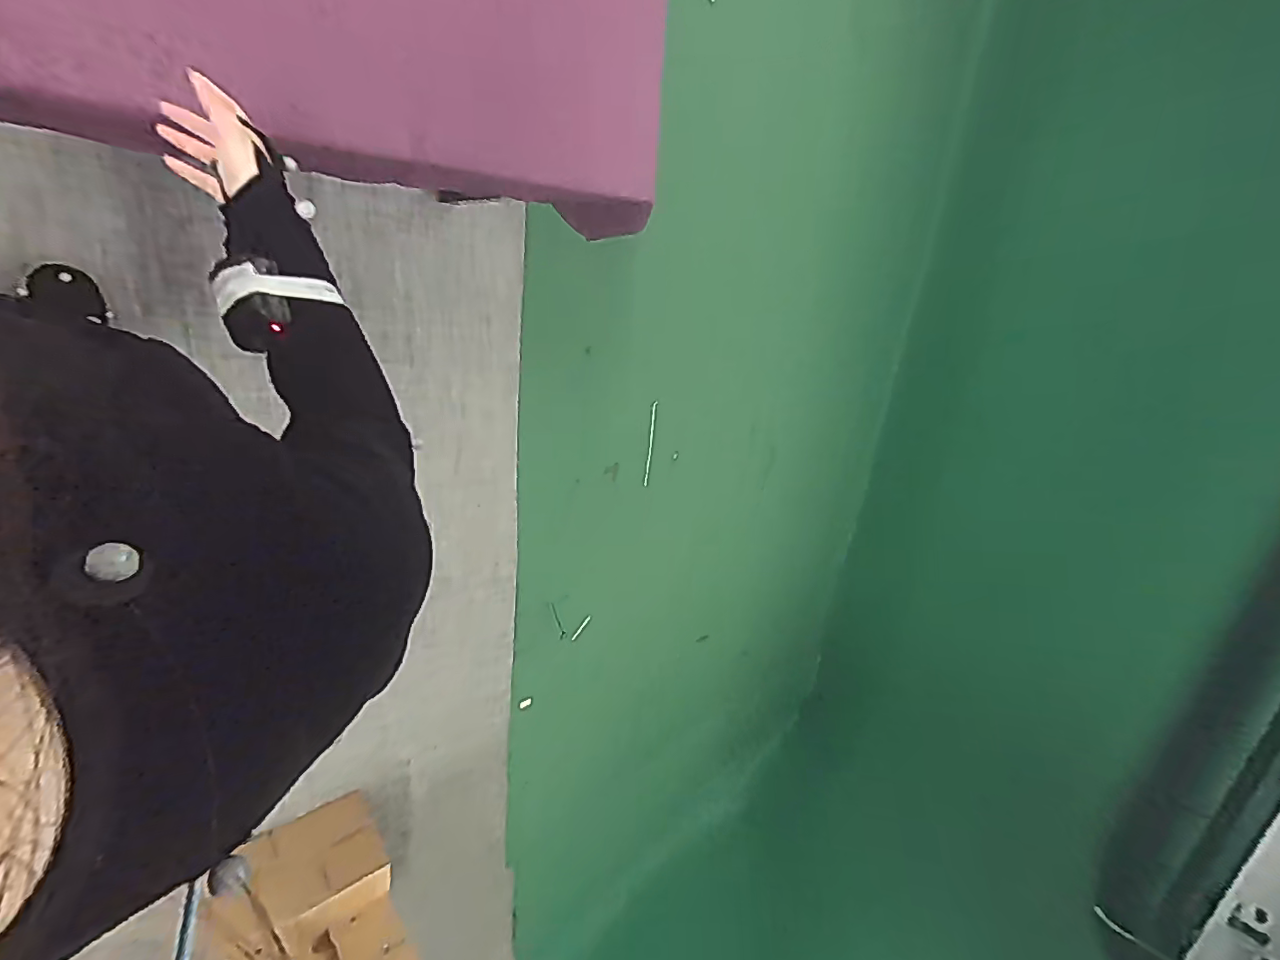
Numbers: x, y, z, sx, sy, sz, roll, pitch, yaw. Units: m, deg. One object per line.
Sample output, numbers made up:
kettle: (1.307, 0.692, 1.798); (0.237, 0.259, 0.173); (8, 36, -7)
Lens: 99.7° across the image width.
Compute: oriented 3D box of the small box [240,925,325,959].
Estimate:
small box: (-0.892, 1.268, 1.345); (0.168, 0.176, 0.179); (-4, 112, -44)

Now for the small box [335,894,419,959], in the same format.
small box: (-0.750, 1.343, 1.535); (0.168, 0.176, 0.179); (-6, 114, -46)
